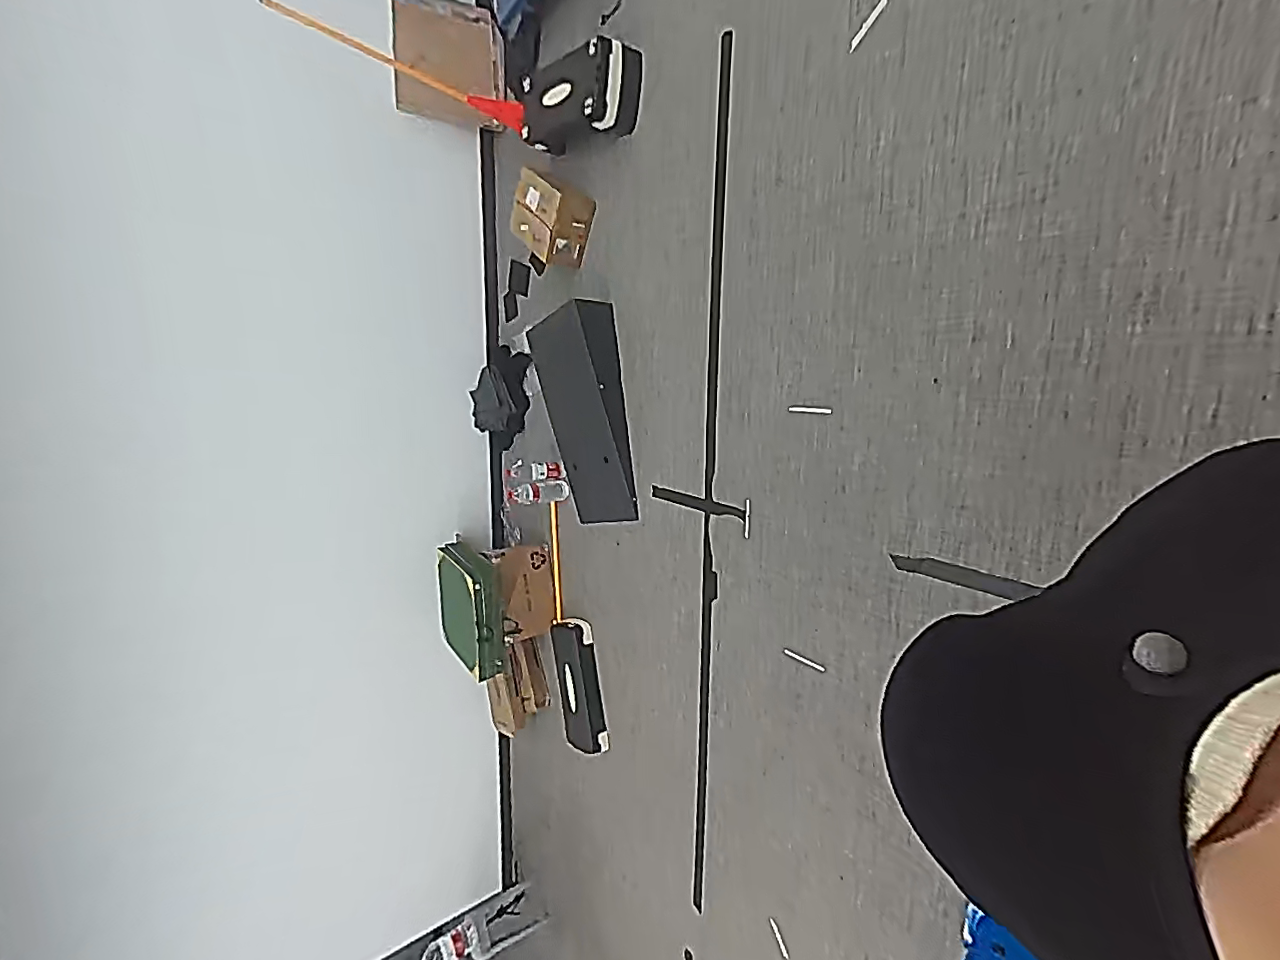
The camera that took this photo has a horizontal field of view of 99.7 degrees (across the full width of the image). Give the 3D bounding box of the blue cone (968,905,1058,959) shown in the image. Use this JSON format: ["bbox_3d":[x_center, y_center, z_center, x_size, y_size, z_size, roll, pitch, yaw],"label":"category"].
[{"bbox_3d":[0.767,1.170,1.205,0.193,0.380,0.192,15,108,52],"label":"blue cone"}]
